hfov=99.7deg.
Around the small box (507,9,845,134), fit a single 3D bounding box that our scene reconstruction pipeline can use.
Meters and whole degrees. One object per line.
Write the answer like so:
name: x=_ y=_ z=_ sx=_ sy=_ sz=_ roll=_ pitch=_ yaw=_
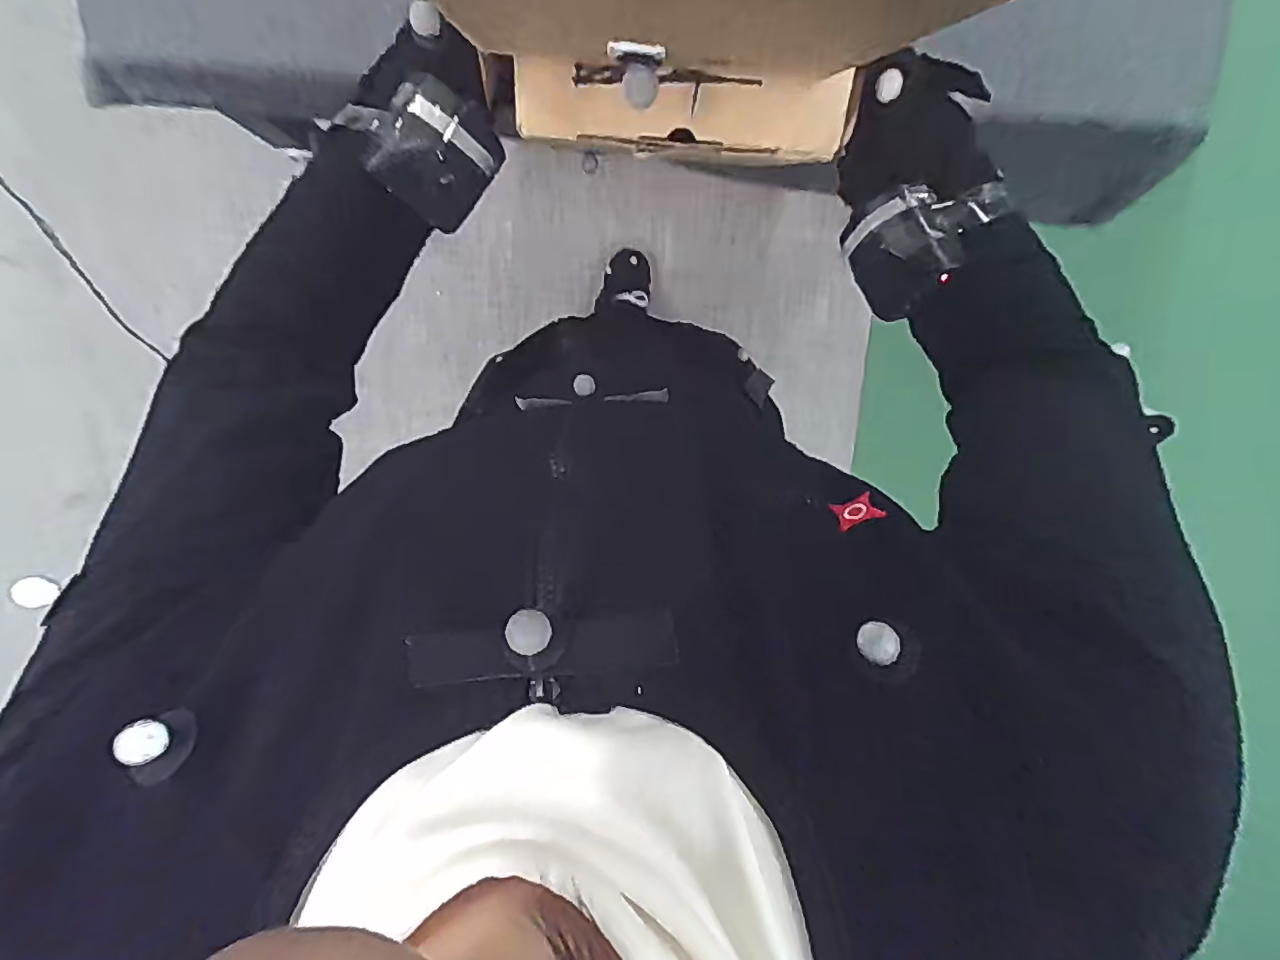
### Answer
small box: x=0.017 y=-0.301 z=0.305 sx=0.168 sy=0.176 sz=0.179 roll=-1 pitch=121 yaw=-2
